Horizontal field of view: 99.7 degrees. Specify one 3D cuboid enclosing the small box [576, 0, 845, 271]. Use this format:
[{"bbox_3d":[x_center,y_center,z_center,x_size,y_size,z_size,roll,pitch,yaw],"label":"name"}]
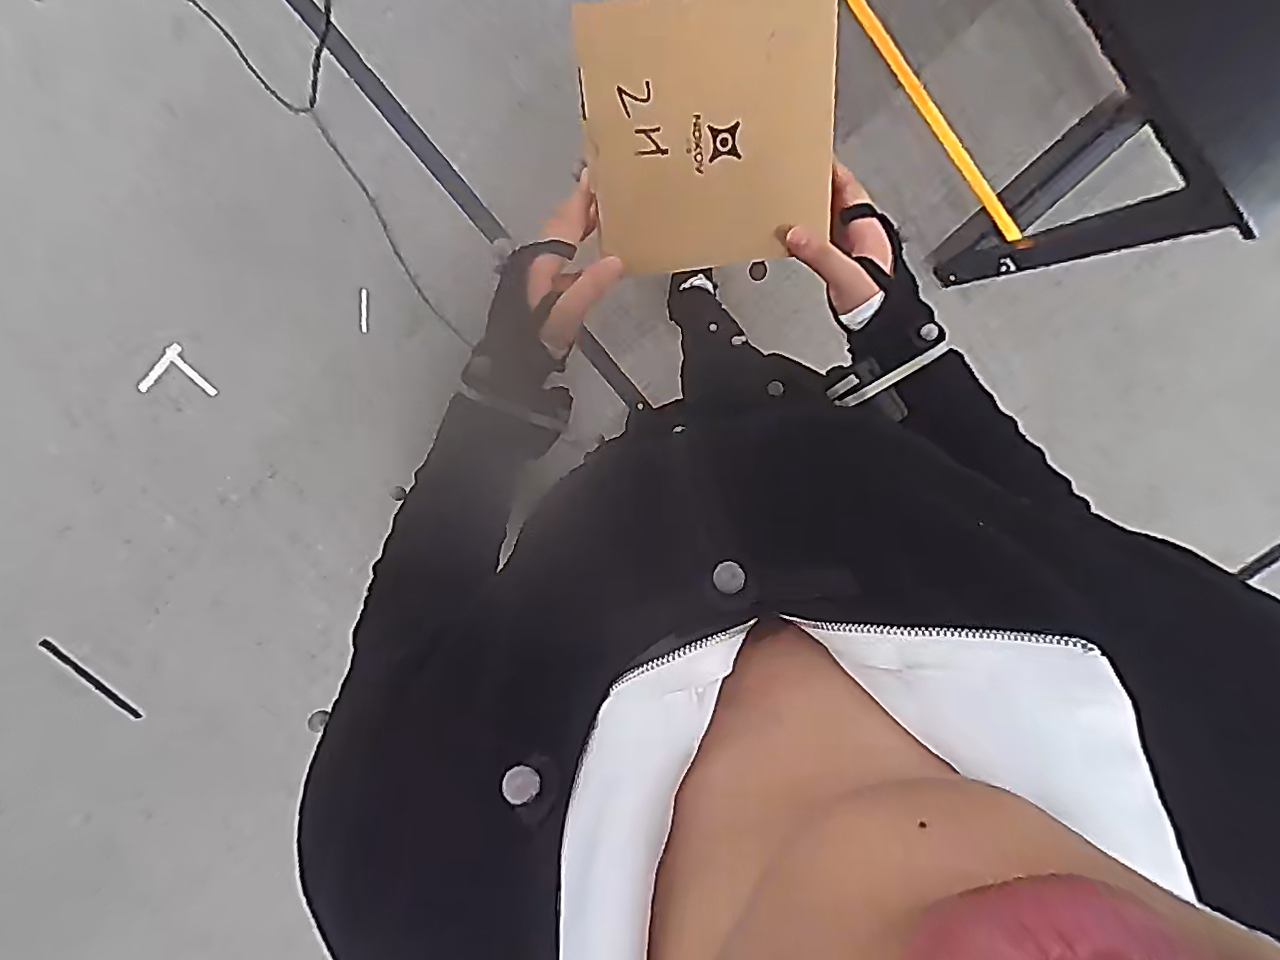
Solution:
[{"bbox_3d":[0.045,-0.273,0.443,0.179,0.176,0.168,-7,115,-1],"label":"small box"}]
